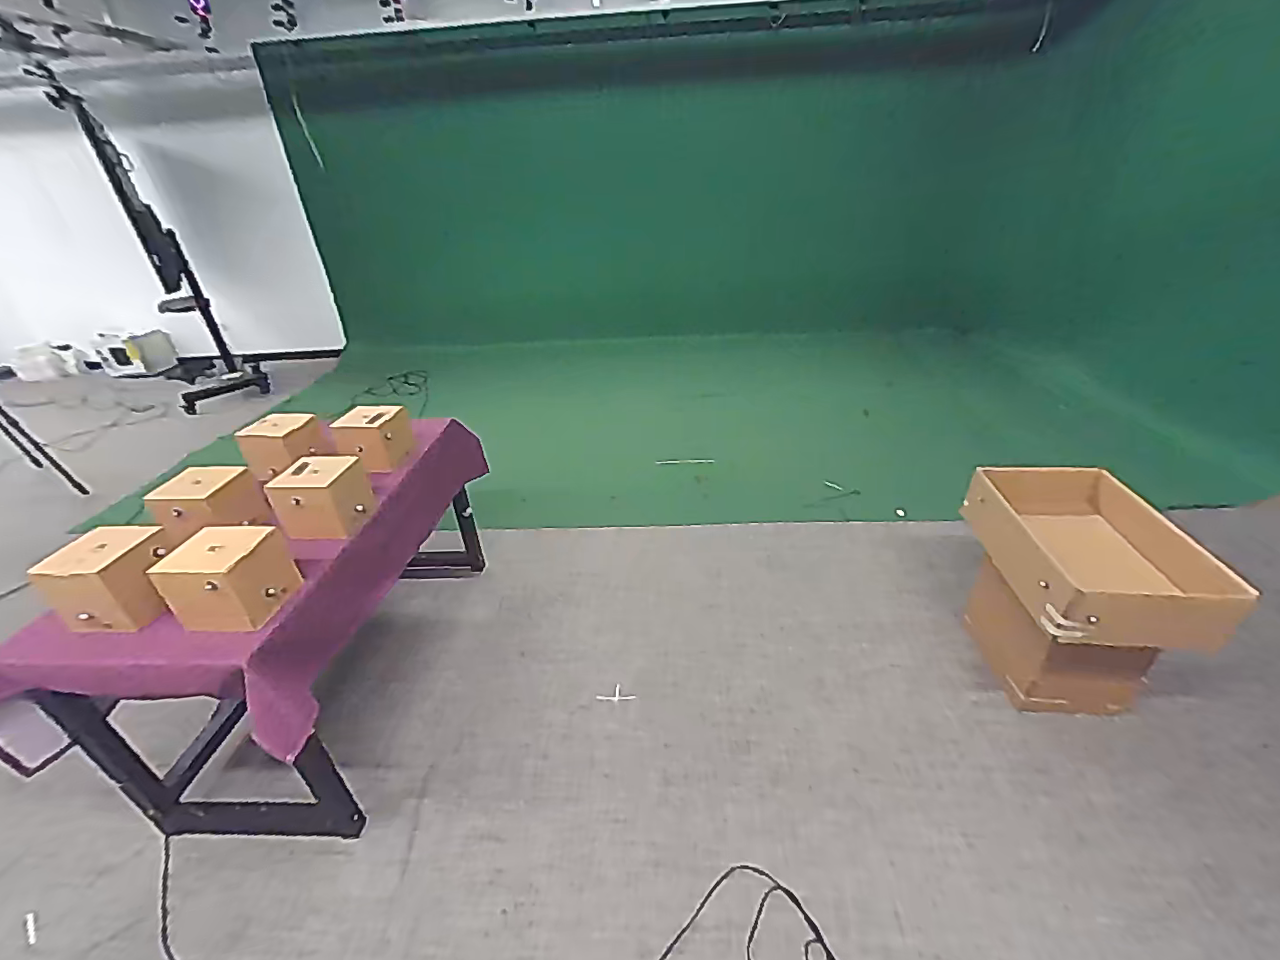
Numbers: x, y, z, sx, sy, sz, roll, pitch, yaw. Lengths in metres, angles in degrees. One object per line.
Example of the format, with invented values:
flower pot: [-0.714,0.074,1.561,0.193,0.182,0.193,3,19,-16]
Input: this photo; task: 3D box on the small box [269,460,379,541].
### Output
small box: [-0.865,0.057,1.498,0.179,0.176,0.168,-1,31,6]

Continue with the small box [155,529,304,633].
small box: [-0.908,0.227,1.216,0.179,0.176,0.168,-1,30,5]

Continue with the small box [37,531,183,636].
small box: [-1.179,0.233,1.241,0.168,0.176,0.179,-1,30,6]

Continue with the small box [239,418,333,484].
small box: [-1.164,-0.093,1.796,0.179,0.176,0.168,3,30,10]
